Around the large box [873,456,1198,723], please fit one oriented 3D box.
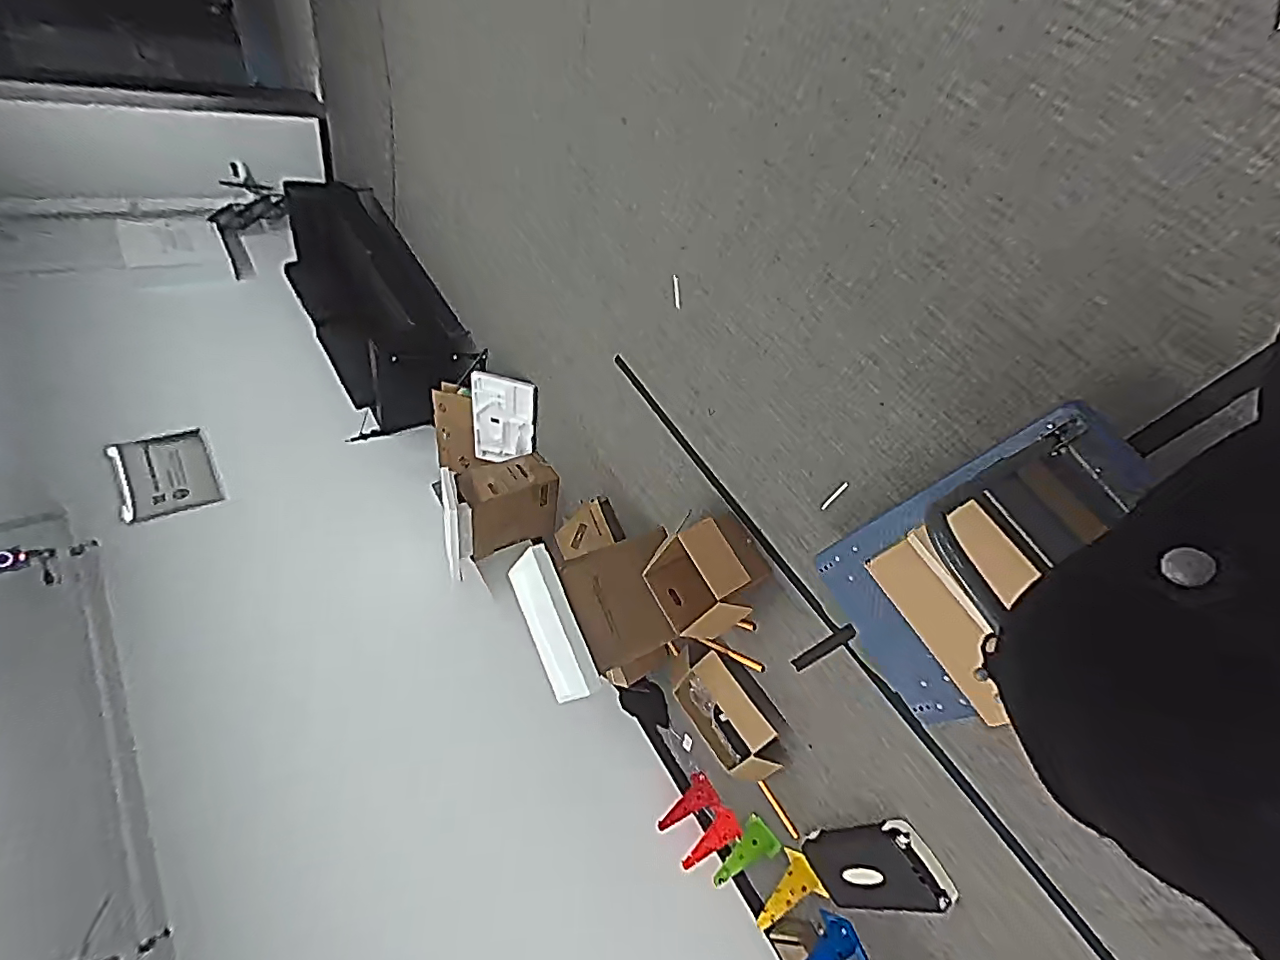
[{"bbox_3d":[0.803,0.220,1.136,0.408,0.320,0.320,57,144,21],"label":"large box"}]
